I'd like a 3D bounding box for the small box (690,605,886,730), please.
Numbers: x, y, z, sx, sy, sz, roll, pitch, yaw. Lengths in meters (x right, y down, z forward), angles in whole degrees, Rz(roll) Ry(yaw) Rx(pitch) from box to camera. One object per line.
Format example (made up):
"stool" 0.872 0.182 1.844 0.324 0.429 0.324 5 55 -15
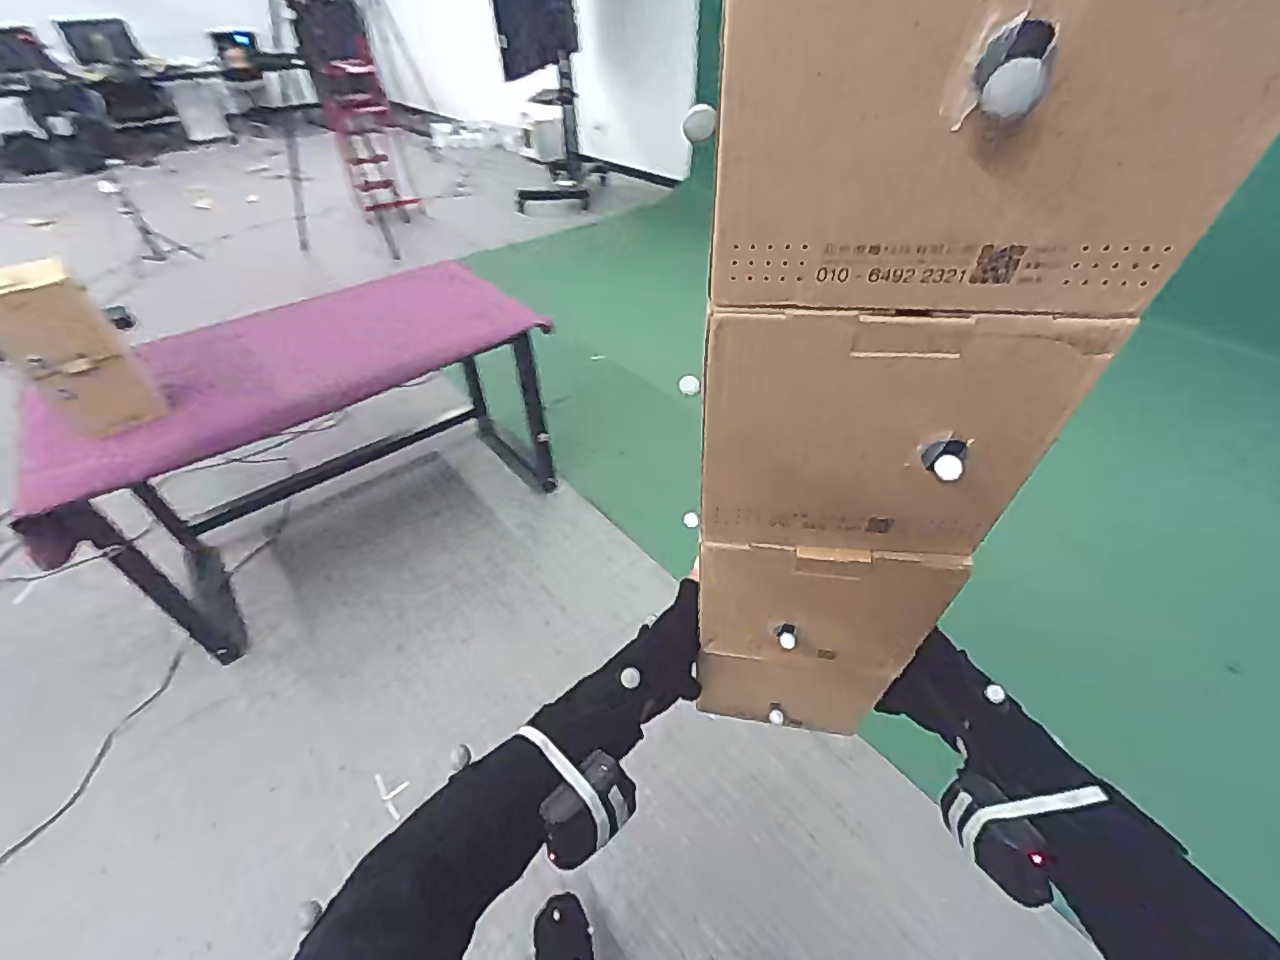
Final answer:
"small box" 0.144 0.137 0.570 0.168 0.176 0.179 5 50 10

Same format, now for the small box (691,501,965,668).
"small box" 0.132 0.032 0.447 0.168 0.176 0.179 4 51 9

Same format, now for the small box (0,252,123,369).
"small box" -1.233 -0.350 1.130 0.168 0.176 0.179 -28 49 -28

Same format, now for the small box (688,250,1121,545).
"small box" 0.118 -0.077 0.326 0.168 0.176 0.179 3 50 7

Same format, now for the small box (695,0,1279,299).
"small box" 0.108 -0.185 0.203 0.168 0.176 0.179 4 52 7
